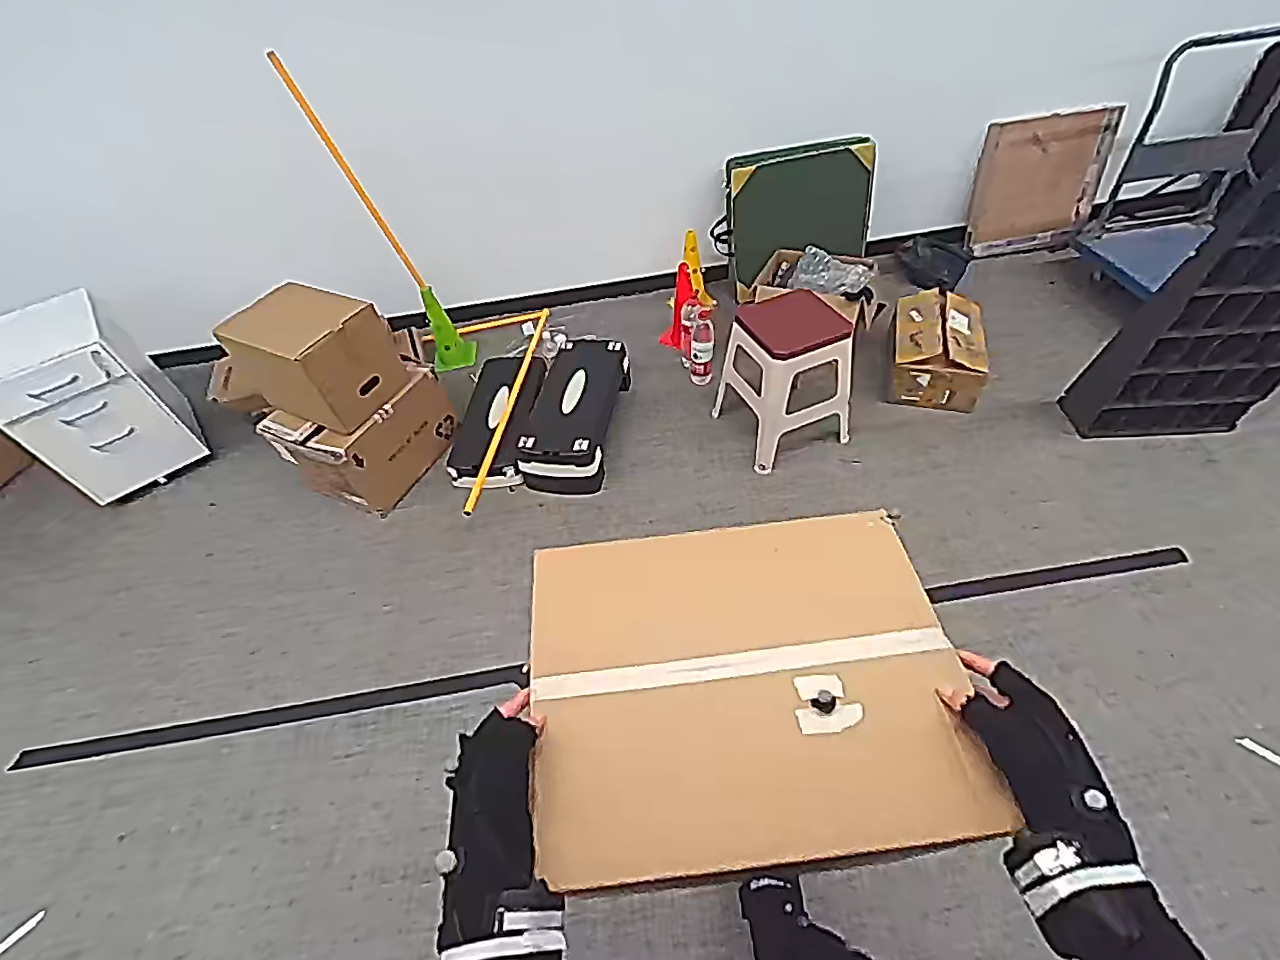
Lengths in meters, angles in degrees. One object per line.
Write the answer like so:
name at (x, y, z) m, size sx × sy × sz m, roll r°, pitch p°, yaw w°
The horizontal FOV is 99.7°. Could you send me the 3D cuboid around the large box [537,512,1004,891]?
large box at (0.102, 0.273, 0.655) m, size 0.408 × 0.320 × 0.320 m, roll -7°, pitch 51°, yaw -1°
